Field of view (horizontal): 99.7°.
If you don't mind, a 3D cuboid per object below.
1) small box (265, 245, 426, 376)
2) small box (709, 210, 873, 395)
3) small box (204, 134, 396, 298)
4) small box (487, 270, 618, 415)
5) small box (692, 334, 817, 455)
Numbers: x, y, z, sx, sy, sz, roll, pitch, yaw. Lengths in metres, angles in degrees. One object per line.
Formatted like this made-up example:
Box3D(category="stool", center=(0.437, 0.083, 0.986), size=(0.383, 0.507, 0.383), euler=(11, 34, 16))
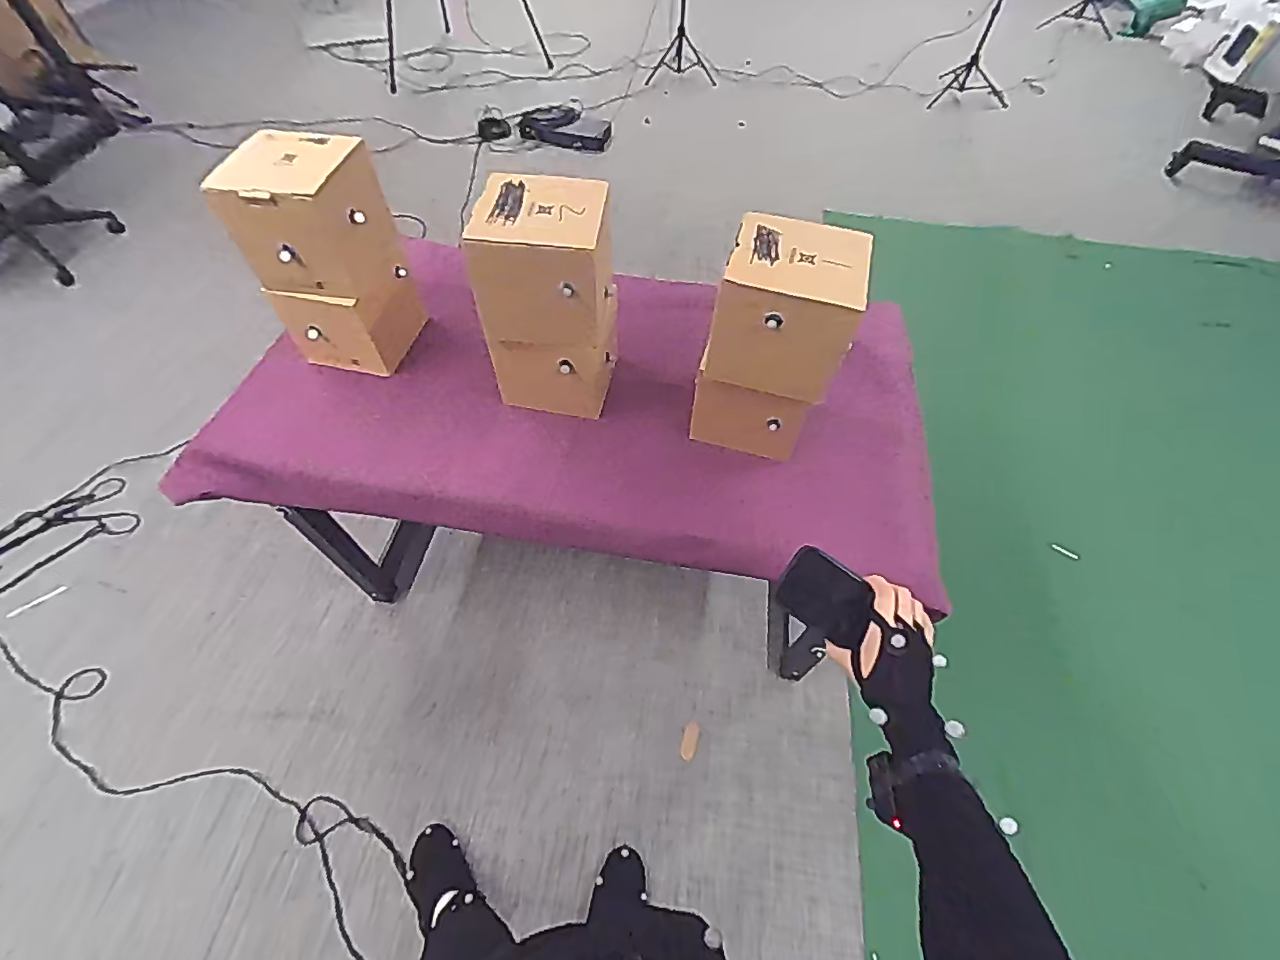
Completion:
Box3D(category="small box", center=(-0.517, -0.313, 0.985), size=(0.168, 0.176, 0.179), euler=(10, 56, 6))
Box3D(category="small box", center=(0.201, -0.241, 0.750), size=(0.179, 0.176, 0.168), euler=(15, 57, 8))
Box3D(category="small box", center=(-0.514, -0.412, 0.854), size=(0.168, 0.176, 0.179), euler=(6, 57, 2))
Box3D(category="small box", center=(-0.138, -0.232, 0.934), size=(0.179, 0.176, 0.168), euler=(10, 56, 6))
Box3D(category="small box", center=(0.193, -0.163, 0.894), size=(0.179, 0.176, 0.168), euler=(15, 57, 10))
